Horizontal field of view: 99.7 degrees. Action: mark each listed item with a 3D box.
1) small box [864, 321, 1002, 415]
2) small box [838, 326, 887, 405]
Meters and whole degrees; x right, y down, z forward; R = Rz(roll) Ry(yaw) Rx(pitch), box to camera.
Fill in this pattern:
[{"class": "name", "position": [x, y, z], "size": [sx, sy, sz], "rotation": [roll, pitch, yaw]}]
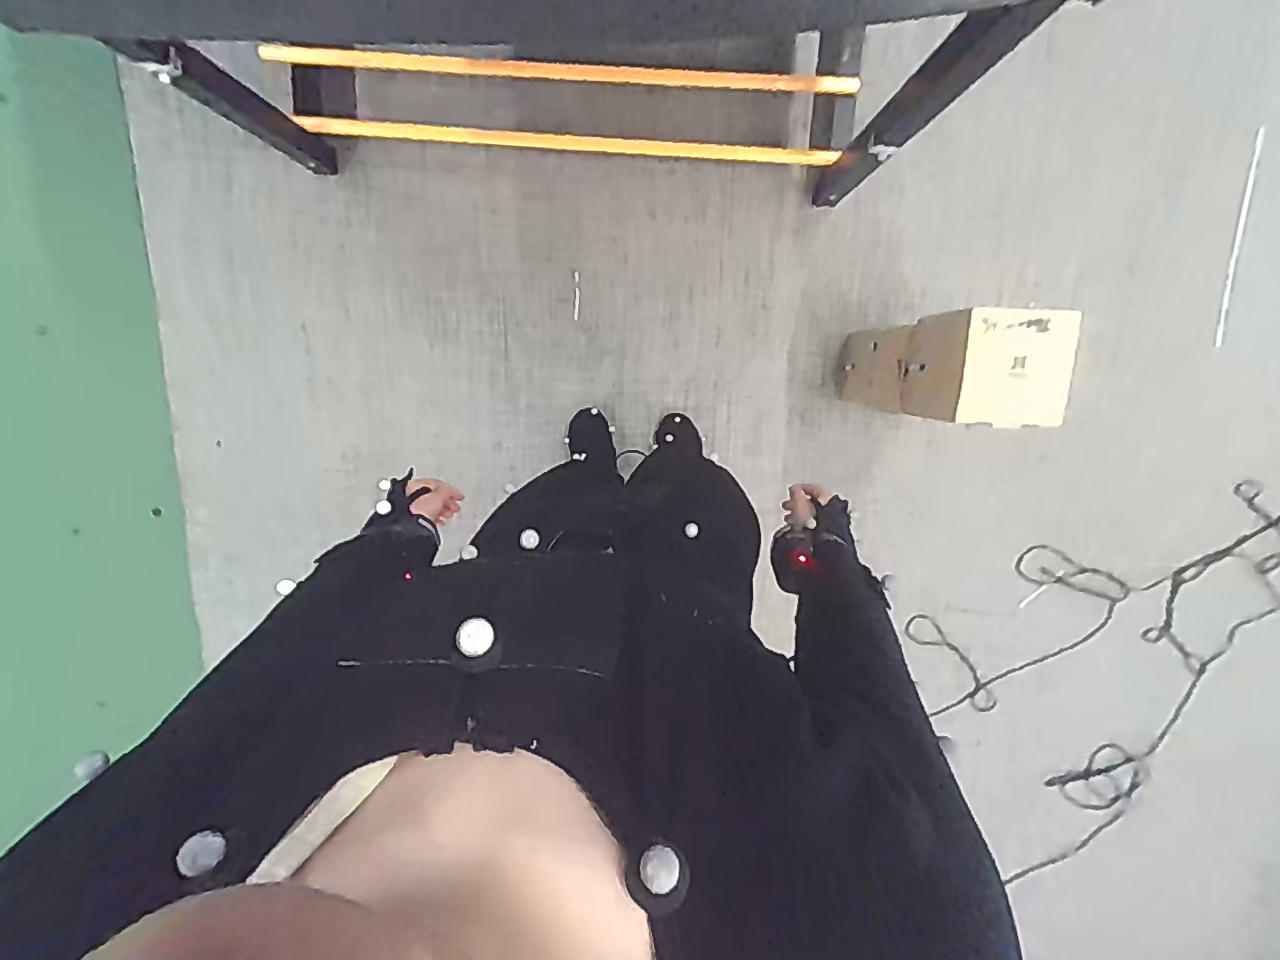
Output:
[{"class": "small box", "position": [0.561, -0.216, 1.059], "size": [0.179, 0.176, 0.168], "rotation": [1, 101, -1]}, {"class": "small box", "position": [0.572, -0.251, 1.220], "size": [0.179, 0.176, 0.168], "rotation": [3, 100, -2]}]
